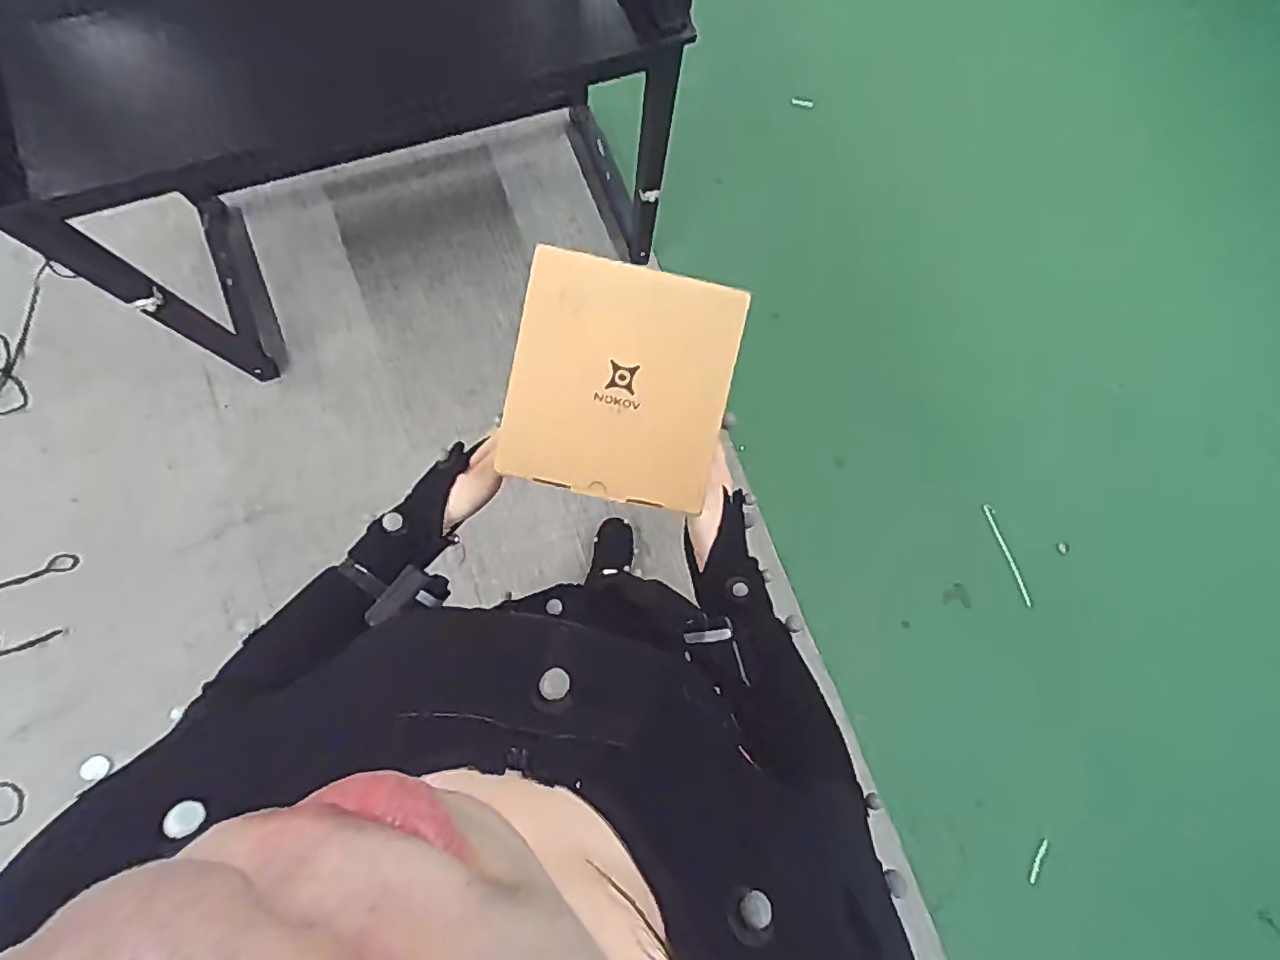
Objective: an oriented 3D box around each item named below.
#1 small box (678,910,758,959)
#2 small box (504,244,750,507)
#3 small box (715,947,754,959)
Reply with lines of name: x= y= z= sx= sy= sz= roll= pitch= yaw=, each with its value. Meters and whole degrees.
small box: x=0.201 y=1.190 z=1.307 sx=0.168 sy=0.176 sz=0.179 roll=-15 pitch=81 yaw=-7
small box: x=-0.014 y=-0.088 z=0.500 sx=0.168 sy=0.176 sz=0.179 roll=12 pitch=97 yaw=-3
small box: x=0.211 y=1.163 z=1.147 sx=0.168 sy=0.176 sz=0.179 roll=-19 pitch=82 yaw=-9
